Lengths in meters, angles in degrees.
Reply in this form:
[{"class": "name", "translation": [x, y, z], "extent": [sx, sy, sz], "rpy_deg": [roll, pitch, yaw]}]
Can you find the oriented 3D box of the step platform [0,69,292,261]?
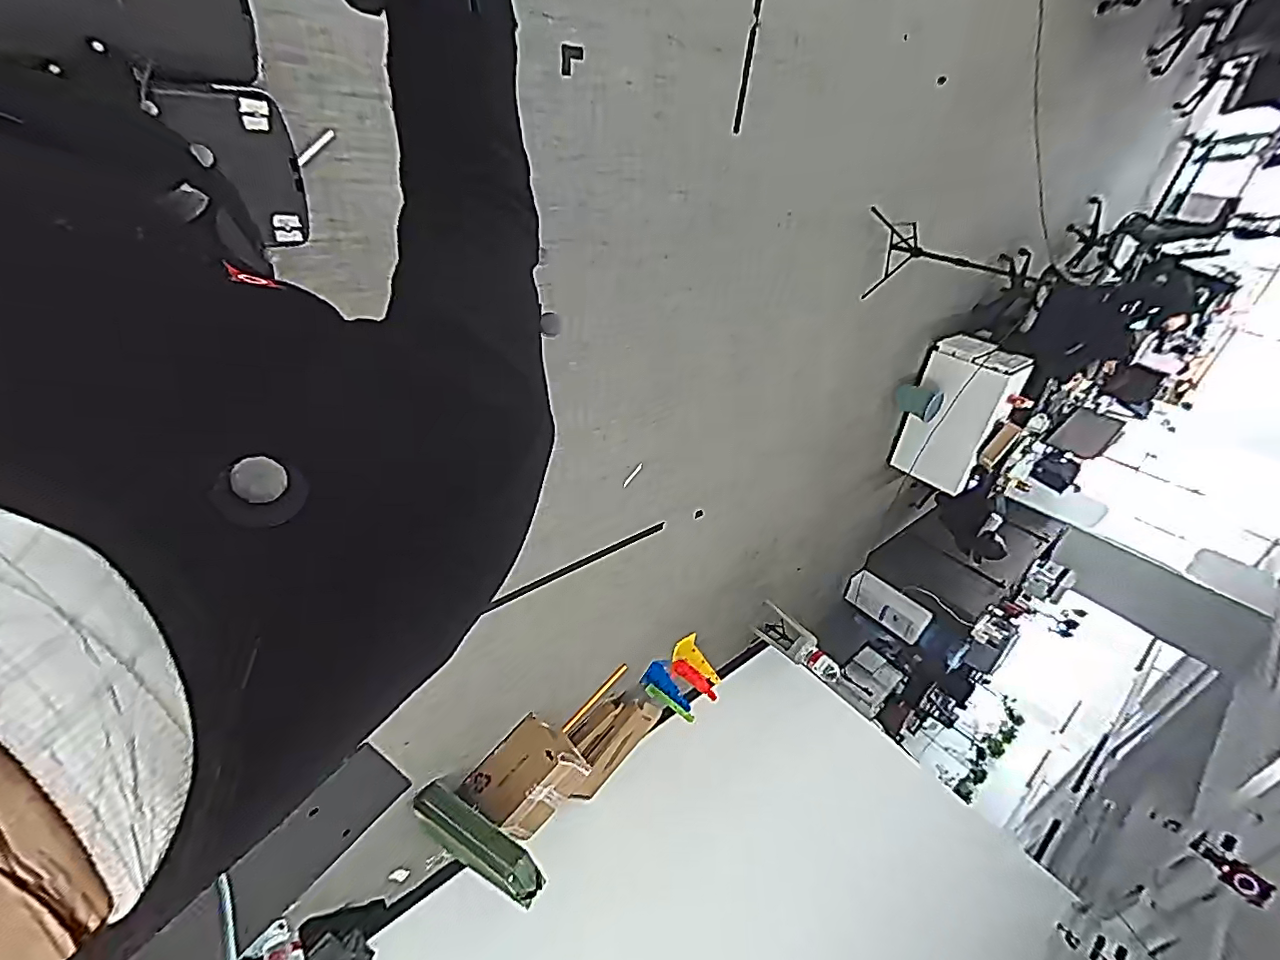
[{"class": "step platform", "translation": [-1.043, -0.570, 0.984], "extent": [0.684, 0.204, 0.286], "rpy_deg": [-21, 131, -32]}]
